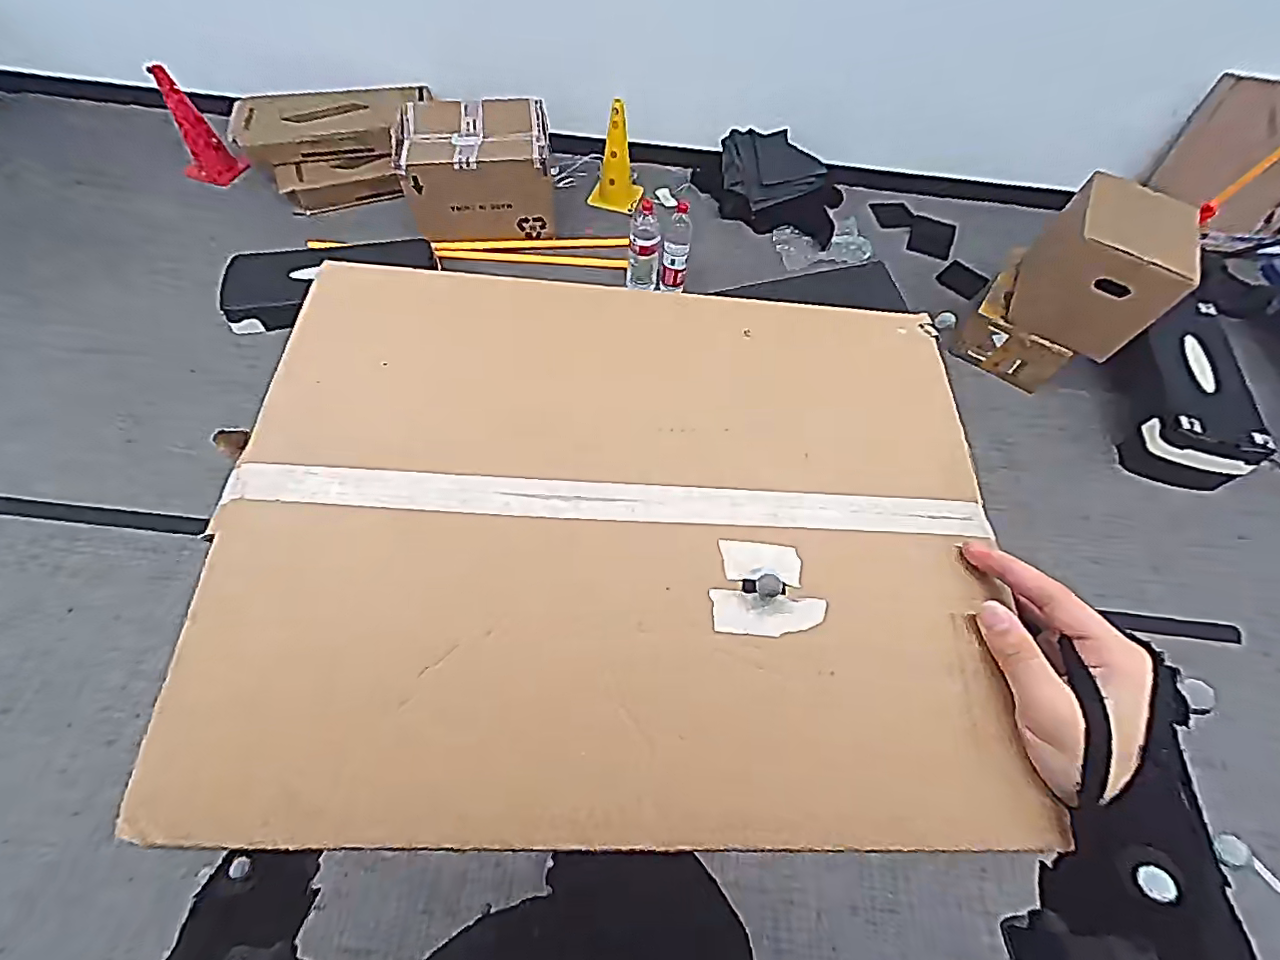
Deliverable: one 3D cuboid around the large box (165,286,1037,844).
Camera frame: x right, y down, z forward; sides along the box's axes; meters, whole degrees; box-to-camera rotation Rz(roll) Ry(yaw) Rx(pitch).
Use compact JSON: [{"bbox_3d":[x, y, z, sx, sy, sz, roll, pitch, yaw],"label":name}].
[{"bbox_3d":[-0.019,0.084,0.439,0.408,0.320,0.320,4,65,-6],"label":"large box"}]
